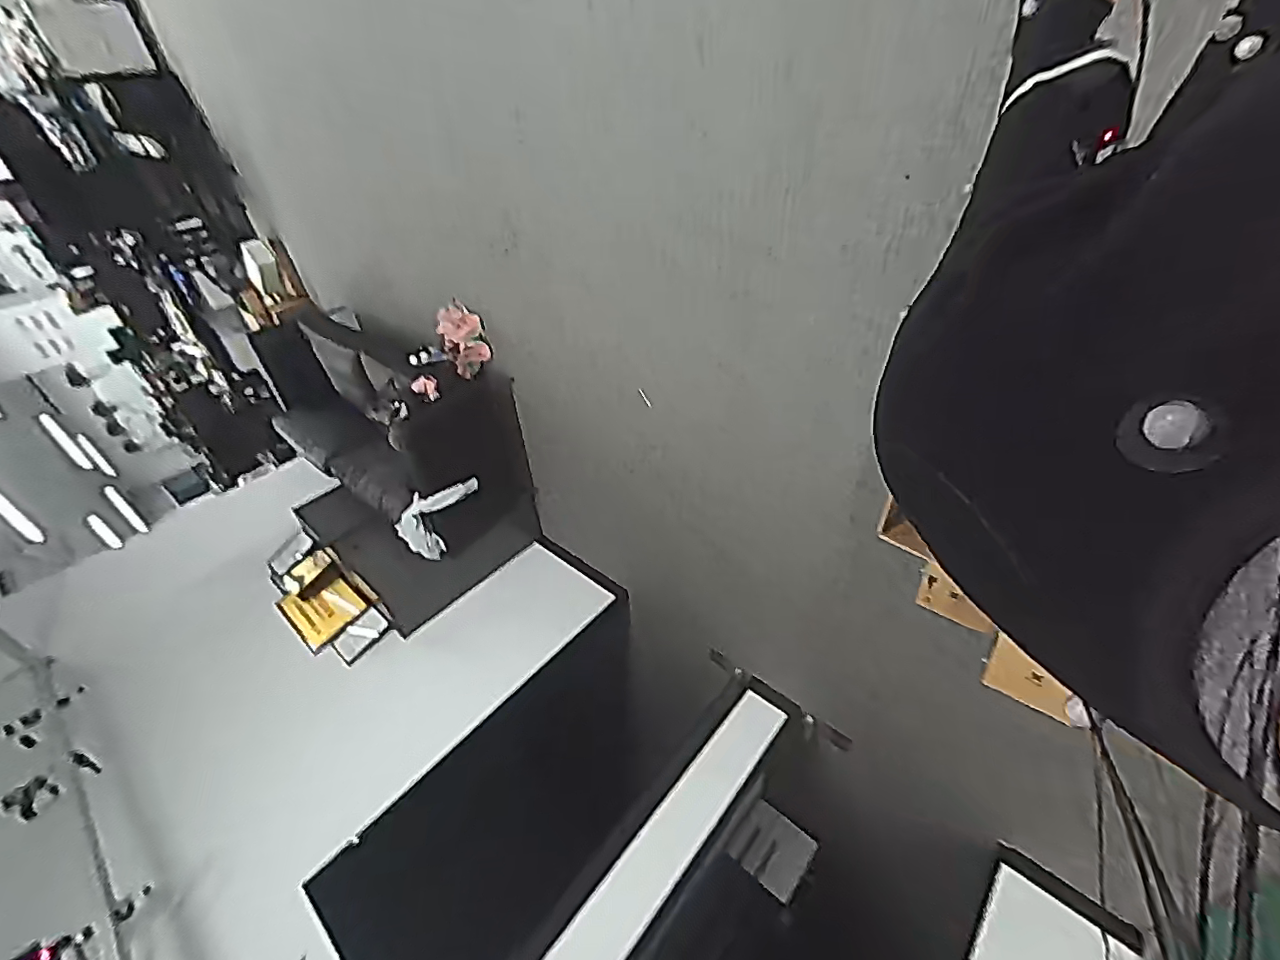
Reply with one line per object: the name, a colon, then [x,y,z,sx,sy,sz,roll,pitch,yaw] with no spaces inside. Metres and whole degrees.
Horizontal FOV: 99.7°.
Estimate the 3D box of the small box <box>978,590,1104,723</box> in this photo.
small box: [0.864,0.371,1.165,0.168,0.176,0.179,24,135,38]
